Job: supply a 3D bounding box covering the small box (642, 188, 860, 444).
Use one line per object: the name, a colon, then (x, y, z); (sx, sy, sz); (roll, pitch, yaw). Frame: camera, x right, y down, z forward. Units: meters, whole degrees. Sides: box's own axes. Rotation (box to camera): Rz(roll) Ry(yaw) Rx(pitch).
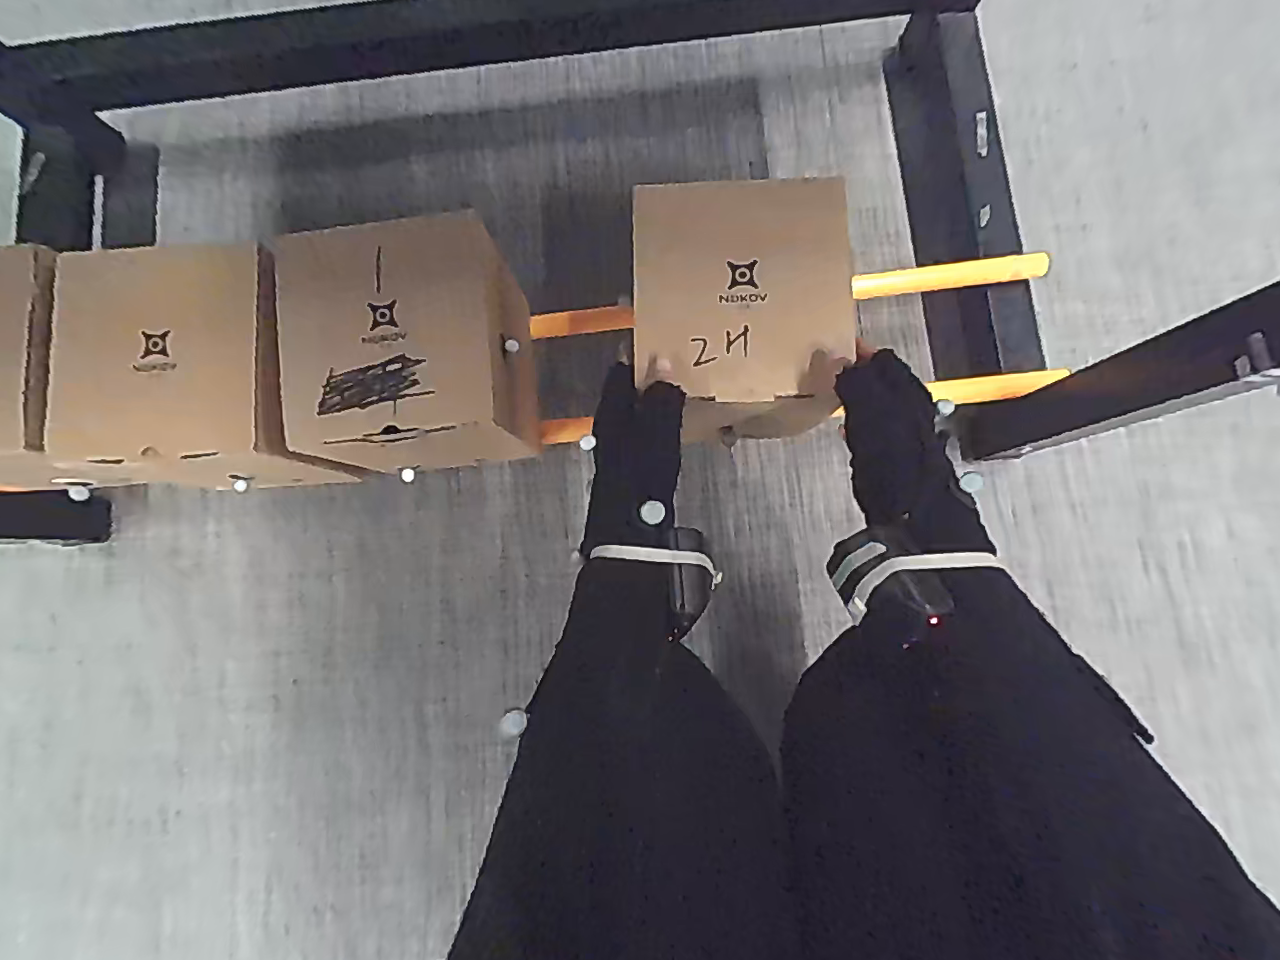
small box: (0.088, -0.134, 0.496); (0.168, 0.176, 0.179); (-1, 84, 4)
